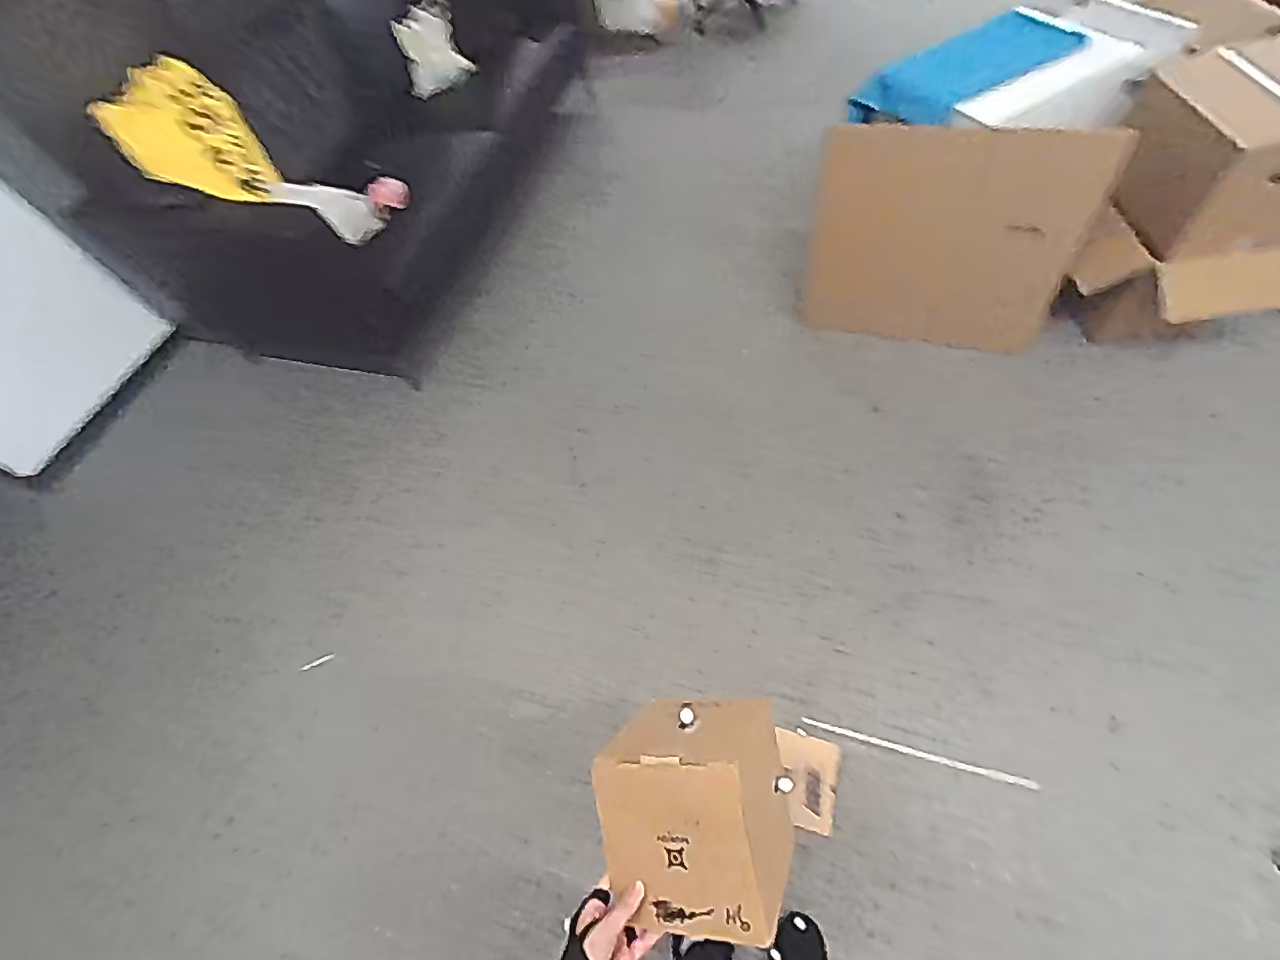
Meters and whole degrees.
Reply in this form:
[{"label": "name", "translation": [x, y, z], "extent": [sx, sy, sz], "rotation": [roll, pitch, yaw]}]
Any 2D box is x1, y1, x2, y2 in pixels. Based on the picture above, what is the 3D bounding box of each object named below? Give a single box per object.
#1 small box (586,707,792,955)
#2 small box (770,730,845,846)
[{"label": "small box", "translation": [0.063, 0.368, 0.607], "extent": [0.168, 0.176, 0.179], "rotation": [-13, 86, 24]}, {"label": "small box", "translation": [0.318, 0.640, 1.133], "extent": [0.179, 0.176, 0.168], "rotation": [10, 60, 17]}]
